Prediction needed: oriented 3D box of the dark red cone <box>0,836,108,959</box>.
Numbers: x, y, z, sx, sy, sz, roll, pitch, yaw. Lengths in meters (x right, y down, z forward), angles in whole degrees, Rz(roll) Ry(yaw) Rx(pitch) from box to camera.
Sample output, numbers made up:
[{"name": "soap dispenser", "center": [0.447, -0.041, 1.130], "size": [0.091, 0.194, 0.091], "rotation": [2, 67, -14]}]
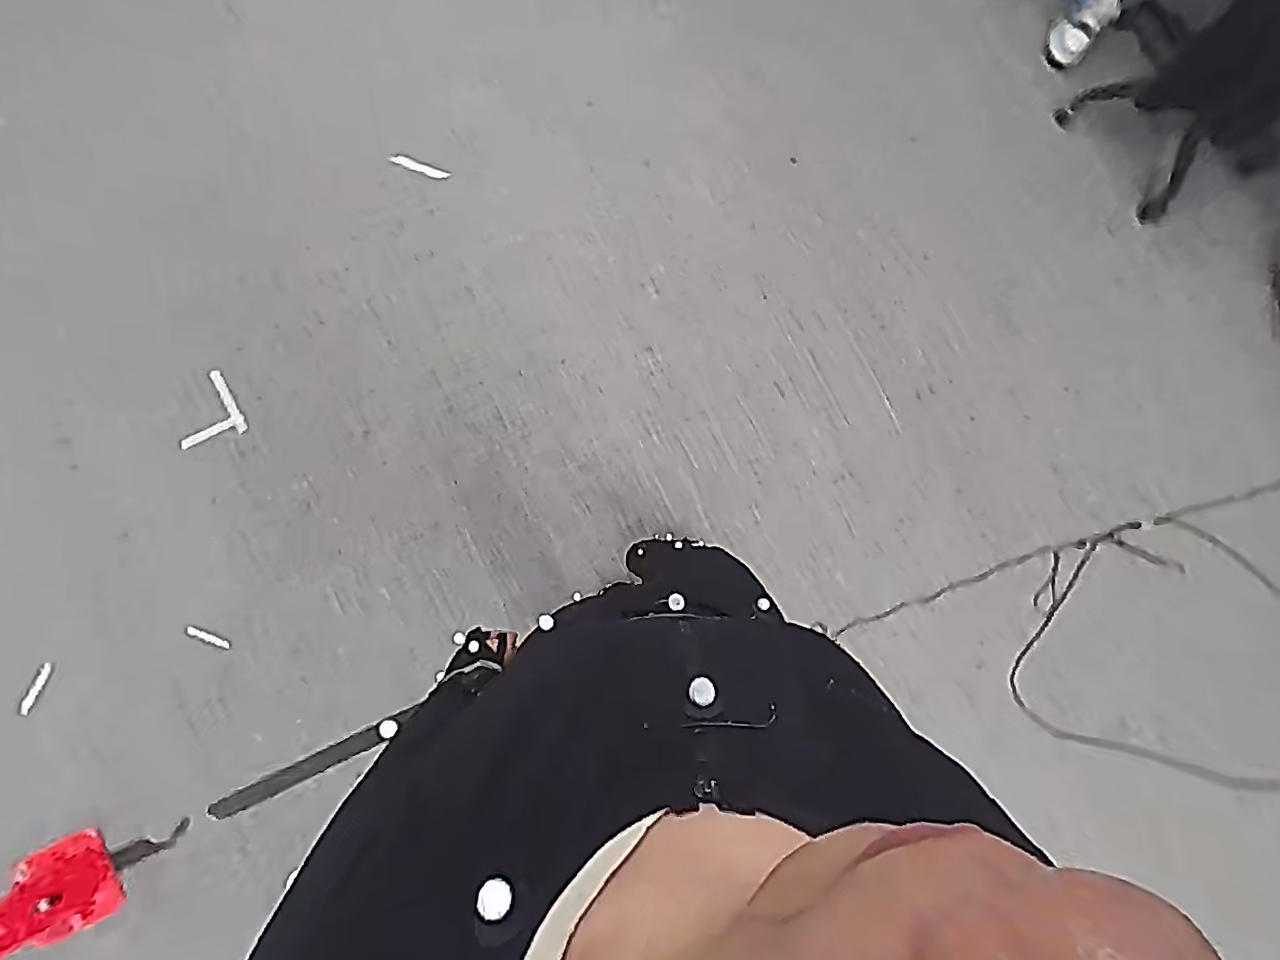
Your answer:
[{"name": "dark red cone", "center": [-1.292, 0.905, 1.034], "size": [0.202, 0.394, 0.201], "rotation": [-26, 88, -7]}]
